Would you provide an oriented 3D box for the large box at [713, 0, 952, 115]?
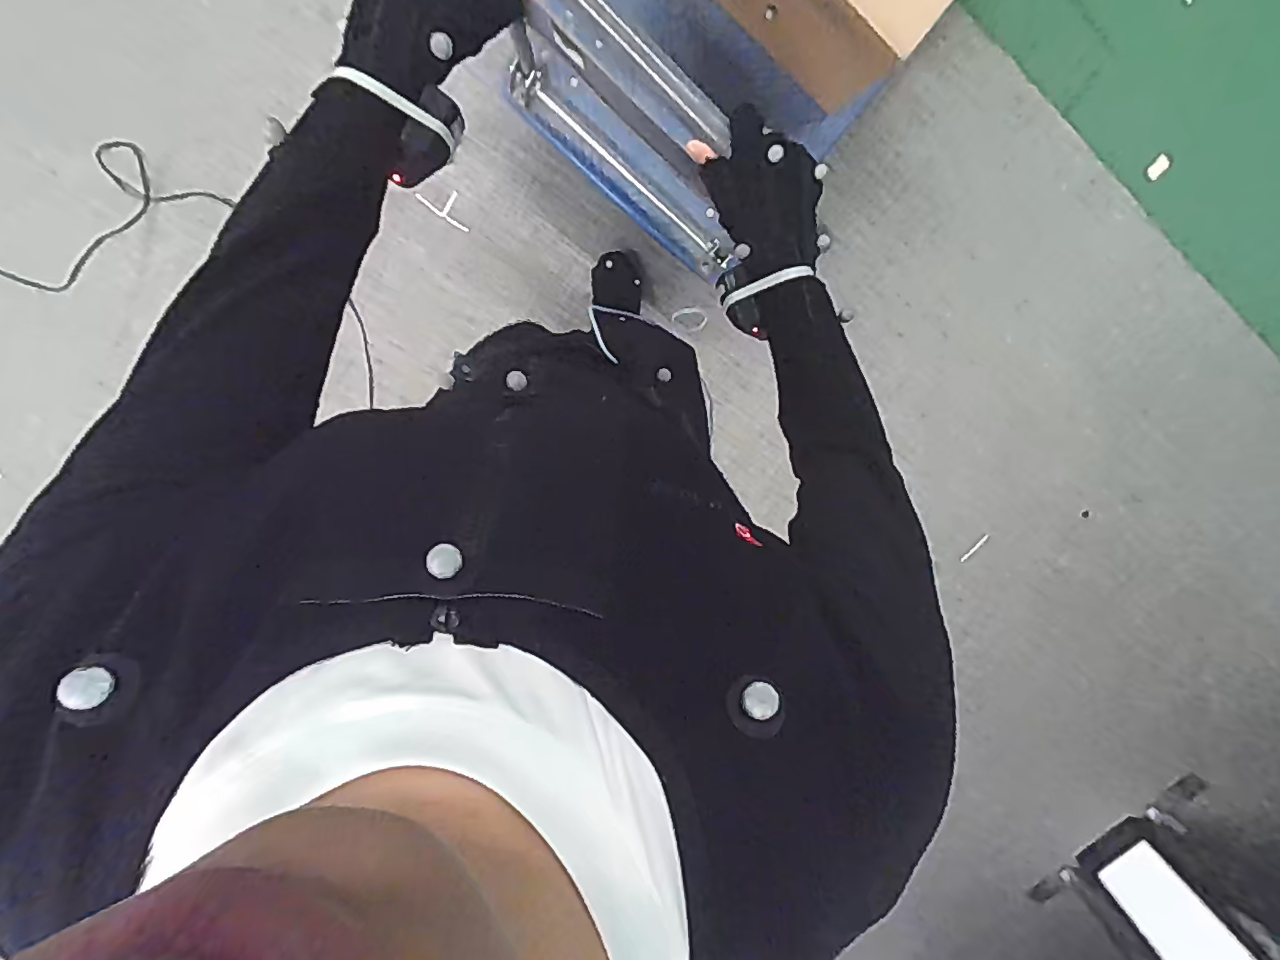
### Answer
[{"bbox_3d":[0.317,-0.887,0.851,0.408,0.320,0.320,36,105,-14],"label":"large box"}]
